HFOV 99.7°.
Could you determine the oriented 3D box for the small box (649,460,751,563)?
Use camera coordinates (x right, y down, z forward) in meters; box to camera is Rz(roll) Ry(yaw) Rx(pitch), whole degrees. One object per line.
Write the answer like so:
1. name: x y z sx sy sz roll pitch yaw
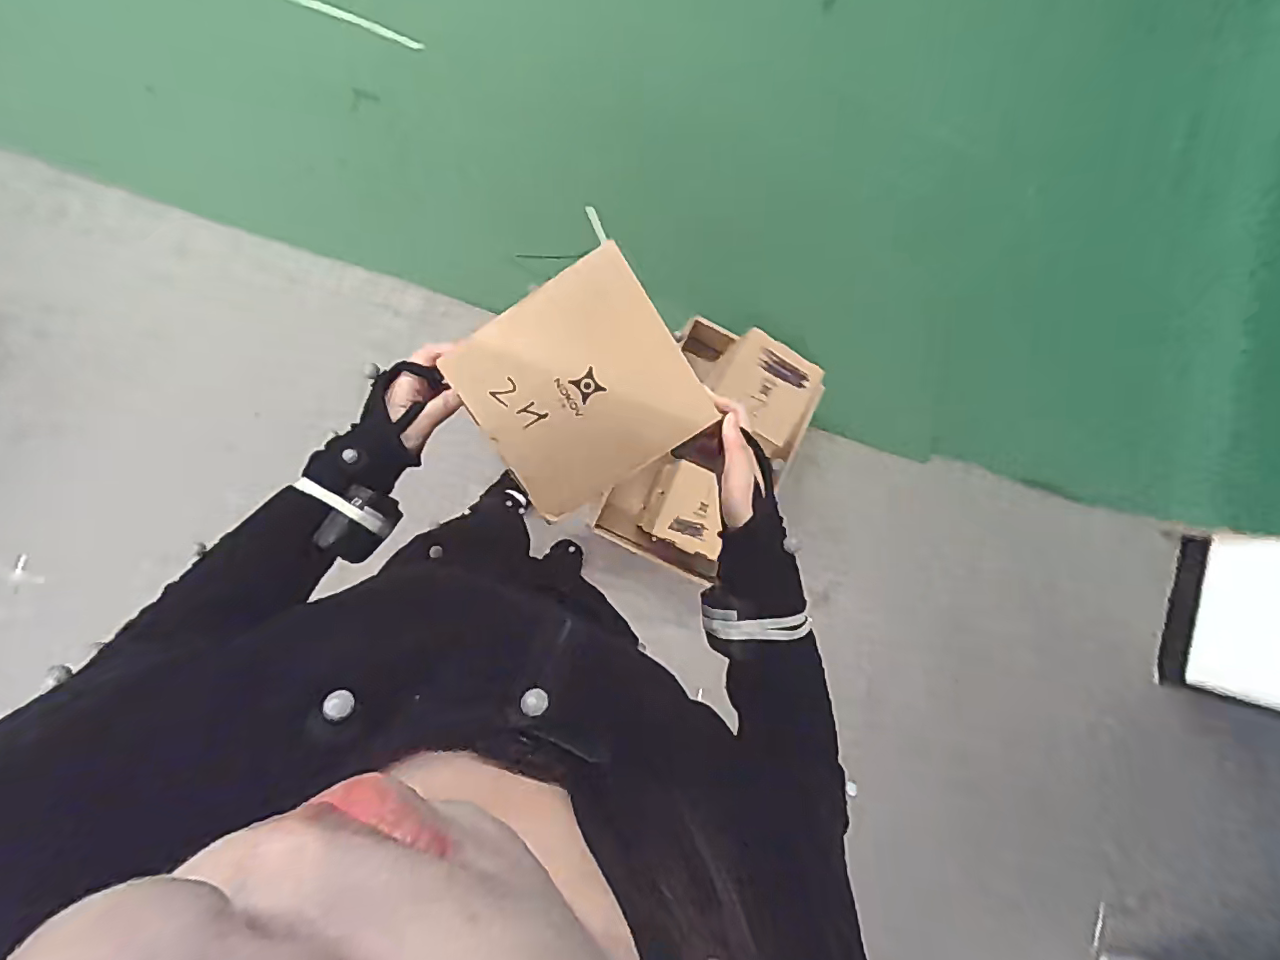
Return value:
1. small box: 0.129 0.073 1.245 0.168 0.176 0.179 25 84 -5
